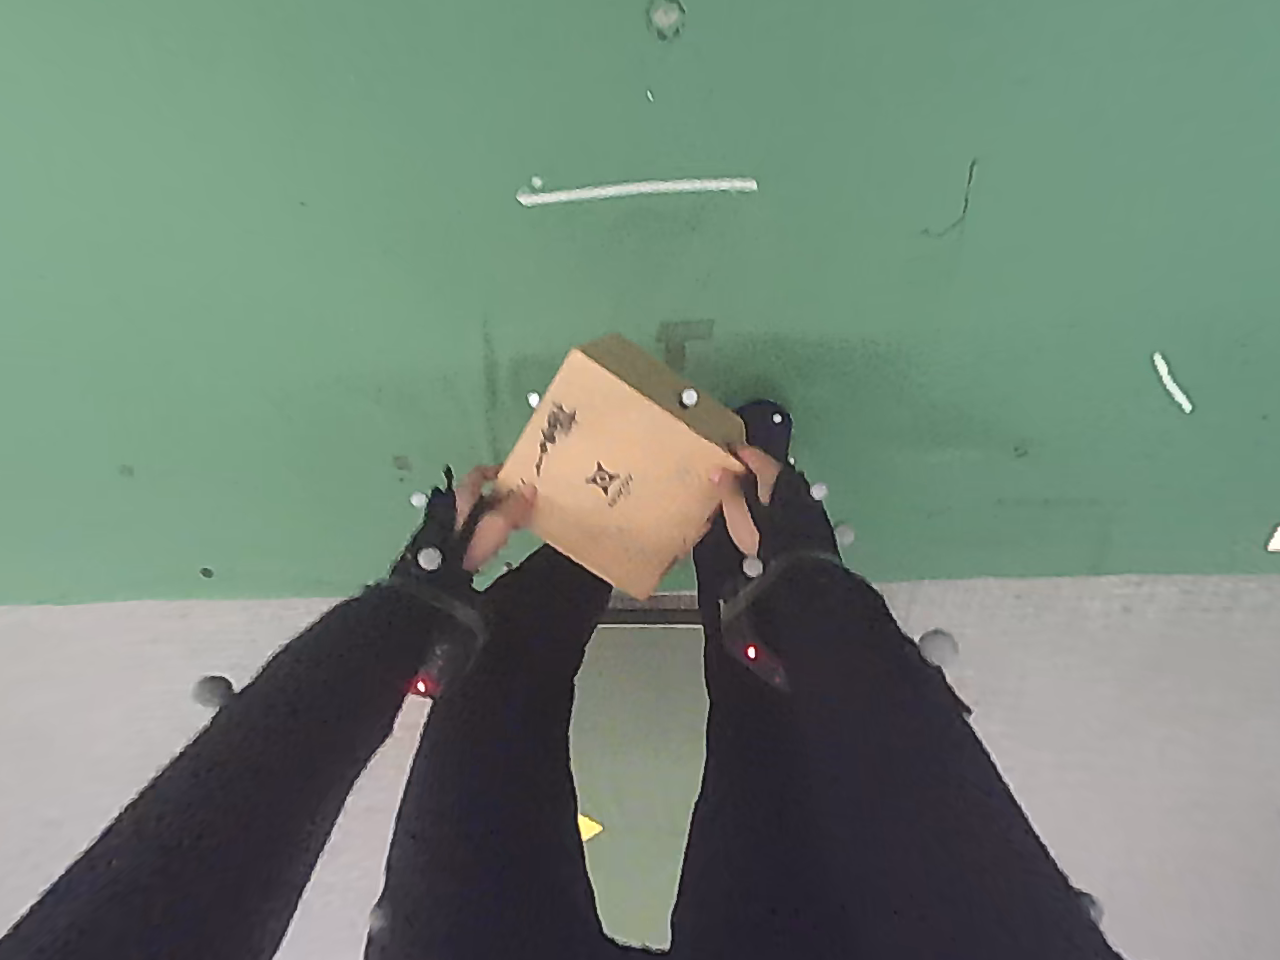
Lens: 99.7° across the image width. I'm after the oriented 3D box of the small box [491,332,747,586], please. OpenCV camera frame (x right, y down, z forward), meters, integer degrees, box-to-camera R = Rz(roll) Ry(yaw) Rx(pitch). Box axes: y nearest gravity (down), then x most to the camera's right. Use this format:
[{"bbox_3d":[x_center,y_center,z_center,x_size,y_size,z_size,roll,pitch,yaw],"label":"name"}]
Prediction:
[{"bbox_3d":[-0.012,-0.034,0.549,0.179,0.176,0.168,35,111,-5],"label":"small box"}]
